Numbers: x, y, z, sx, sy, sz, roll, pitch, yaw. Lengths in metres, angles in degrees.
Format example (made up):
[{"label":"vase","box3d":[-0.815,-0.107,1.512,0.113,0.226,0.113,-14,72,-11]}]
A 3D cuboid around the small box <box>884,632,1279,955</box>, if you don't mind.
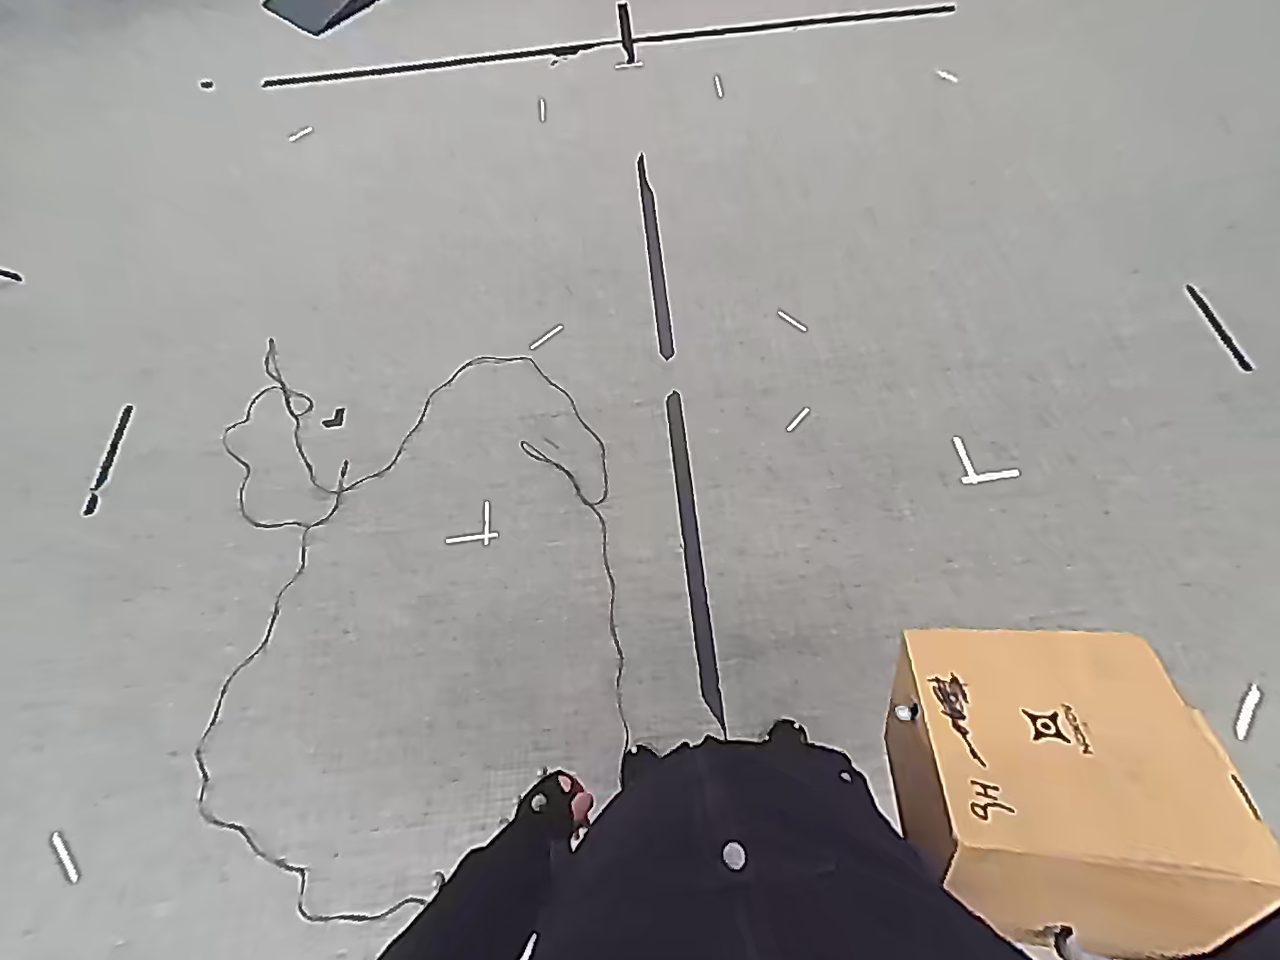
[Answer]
[{"label":"small box","box3d":[0.311,0.247,0.437,0.179,0.176,0.168,-1,36,14]}]
